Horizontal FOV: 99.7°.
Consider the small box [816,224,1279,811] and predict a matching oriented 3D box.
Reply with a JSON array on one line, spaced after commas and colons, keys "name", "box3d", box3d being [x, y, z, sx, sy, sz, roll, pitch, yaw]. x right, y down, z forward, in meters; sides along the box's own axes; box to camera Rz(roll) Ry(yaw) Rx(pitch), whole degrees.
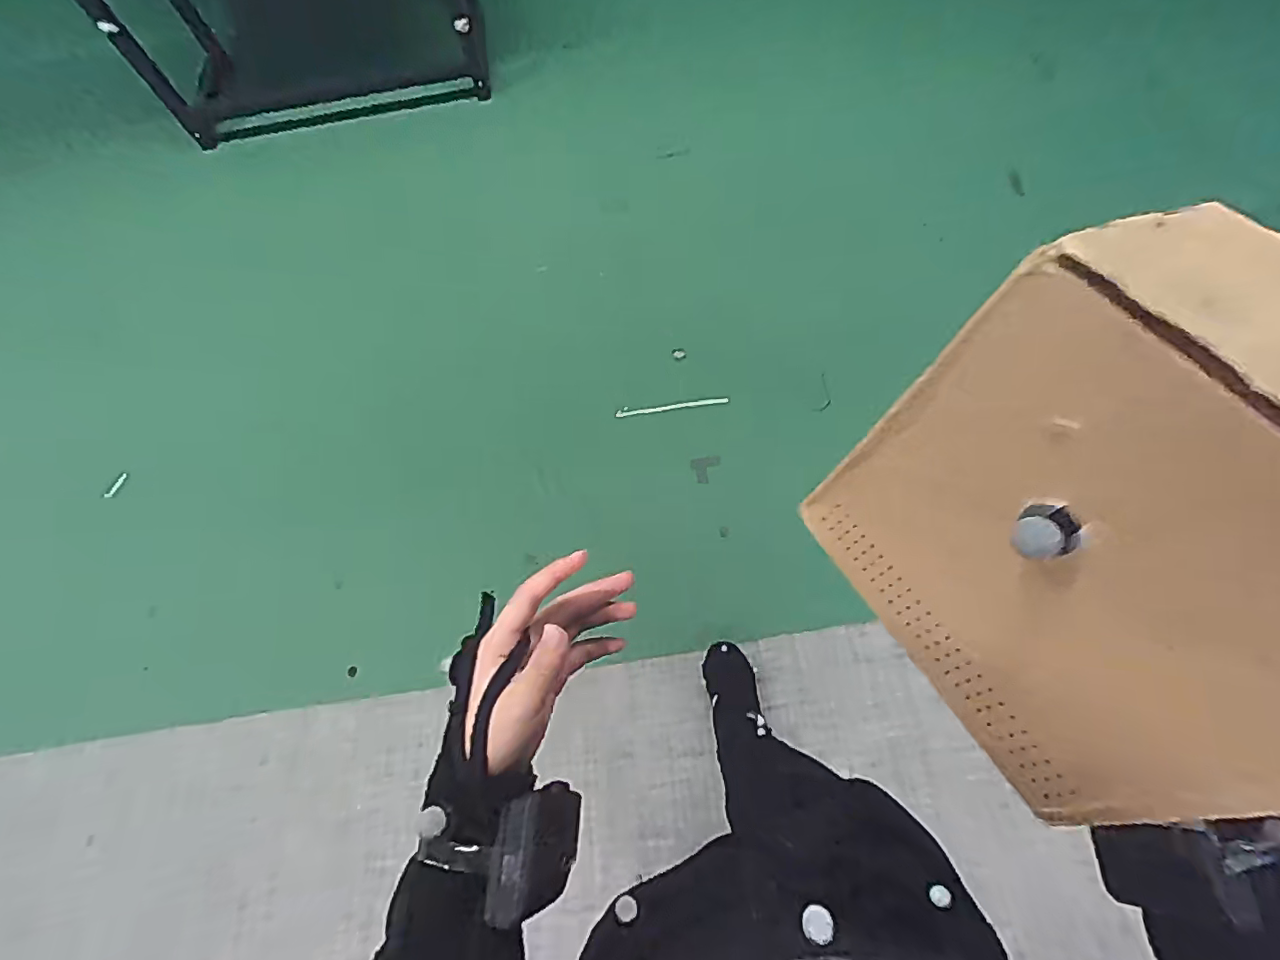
[{"name": "small box", "box3d": [0.218, 0.016, 0.246, 0.168, 0.176, 0.179, -23, 64, -28]}]
